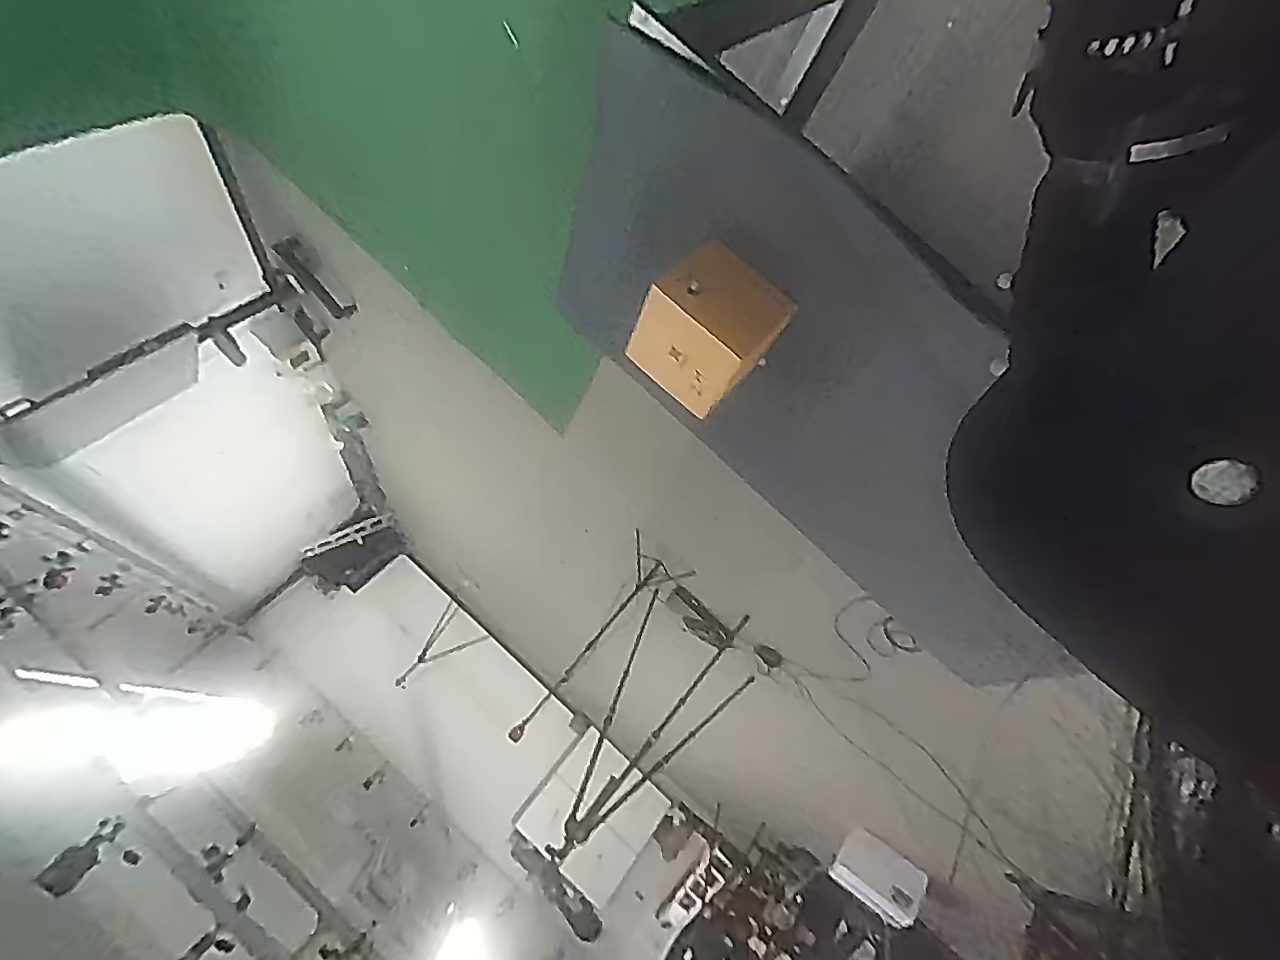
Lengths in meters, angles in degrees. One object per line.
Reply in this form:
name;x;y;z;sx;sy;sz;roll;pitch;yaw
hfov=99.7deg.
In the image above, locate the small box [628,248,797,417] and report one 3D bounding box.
small box;0.114;-0.243;0.871;0.179;0.176;0.168;42;151;5
